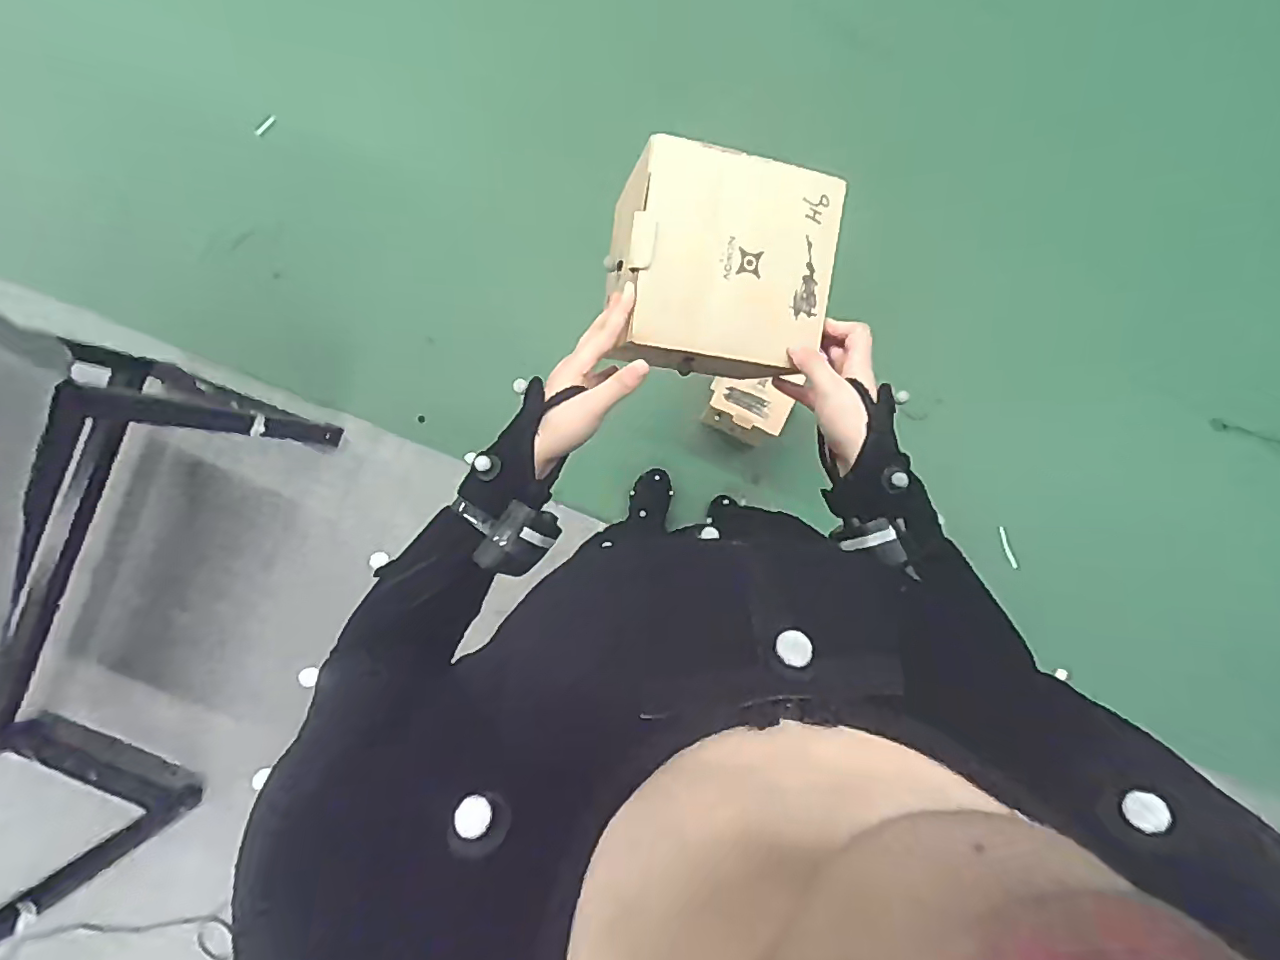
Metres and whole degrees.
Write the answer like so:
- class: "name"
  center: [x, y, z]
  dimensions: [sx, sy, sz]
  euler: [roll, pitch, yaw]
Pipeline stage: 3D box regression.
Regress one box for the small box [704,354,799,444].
- class: "small box"
  center: [0.280, -0.202, 1.396]
  dimensions: [0.179, 0.176, 0.168]
  euler: [26, 91, 3]
